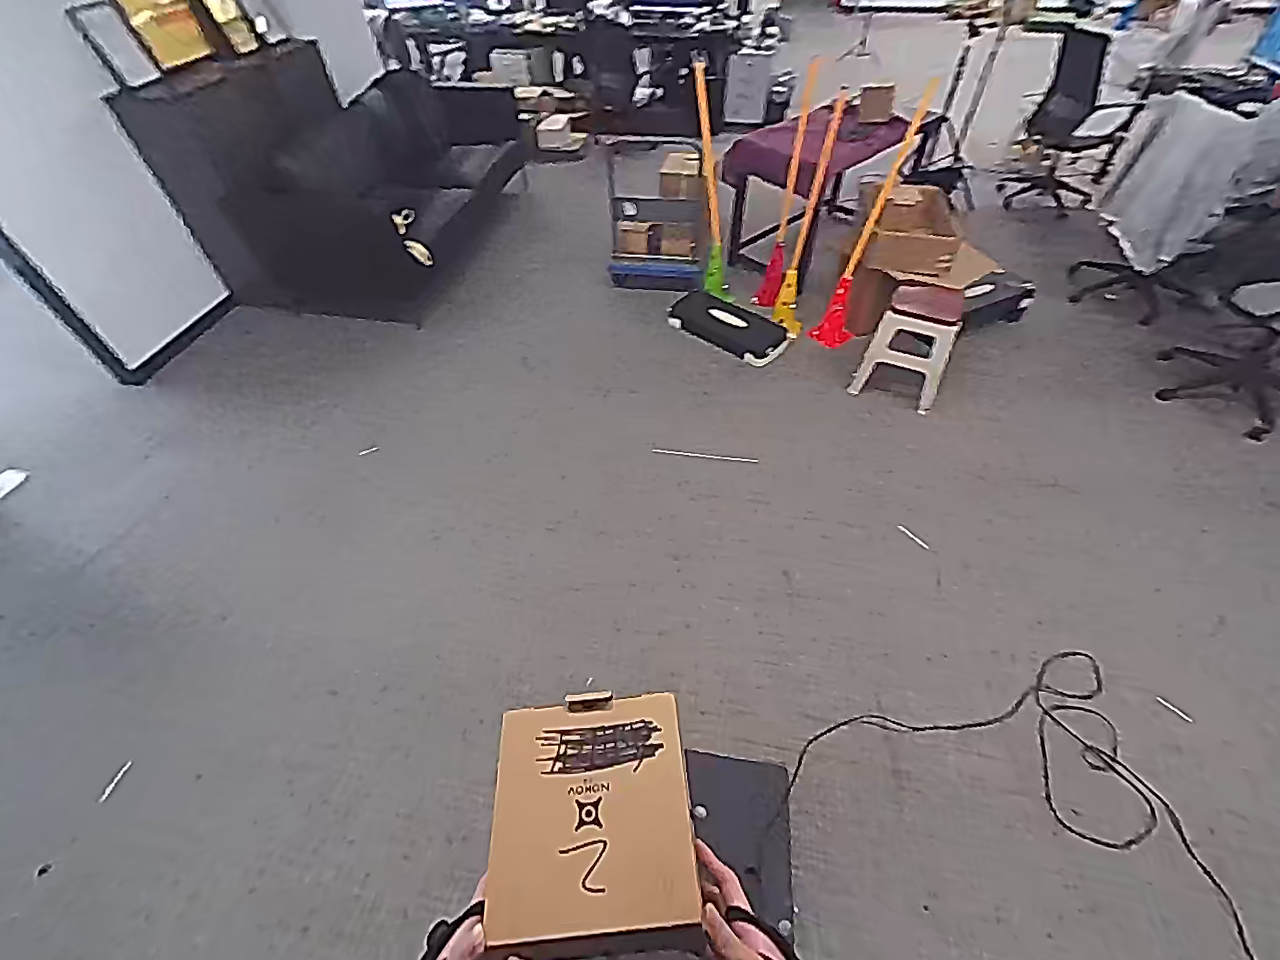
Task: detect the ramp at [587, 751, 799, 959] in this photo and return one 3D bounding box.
[{"bbox_3d":[0.113,1.146,1.225,0.509,0.206,0.991,4,48,7],"label":"ramp"}]
